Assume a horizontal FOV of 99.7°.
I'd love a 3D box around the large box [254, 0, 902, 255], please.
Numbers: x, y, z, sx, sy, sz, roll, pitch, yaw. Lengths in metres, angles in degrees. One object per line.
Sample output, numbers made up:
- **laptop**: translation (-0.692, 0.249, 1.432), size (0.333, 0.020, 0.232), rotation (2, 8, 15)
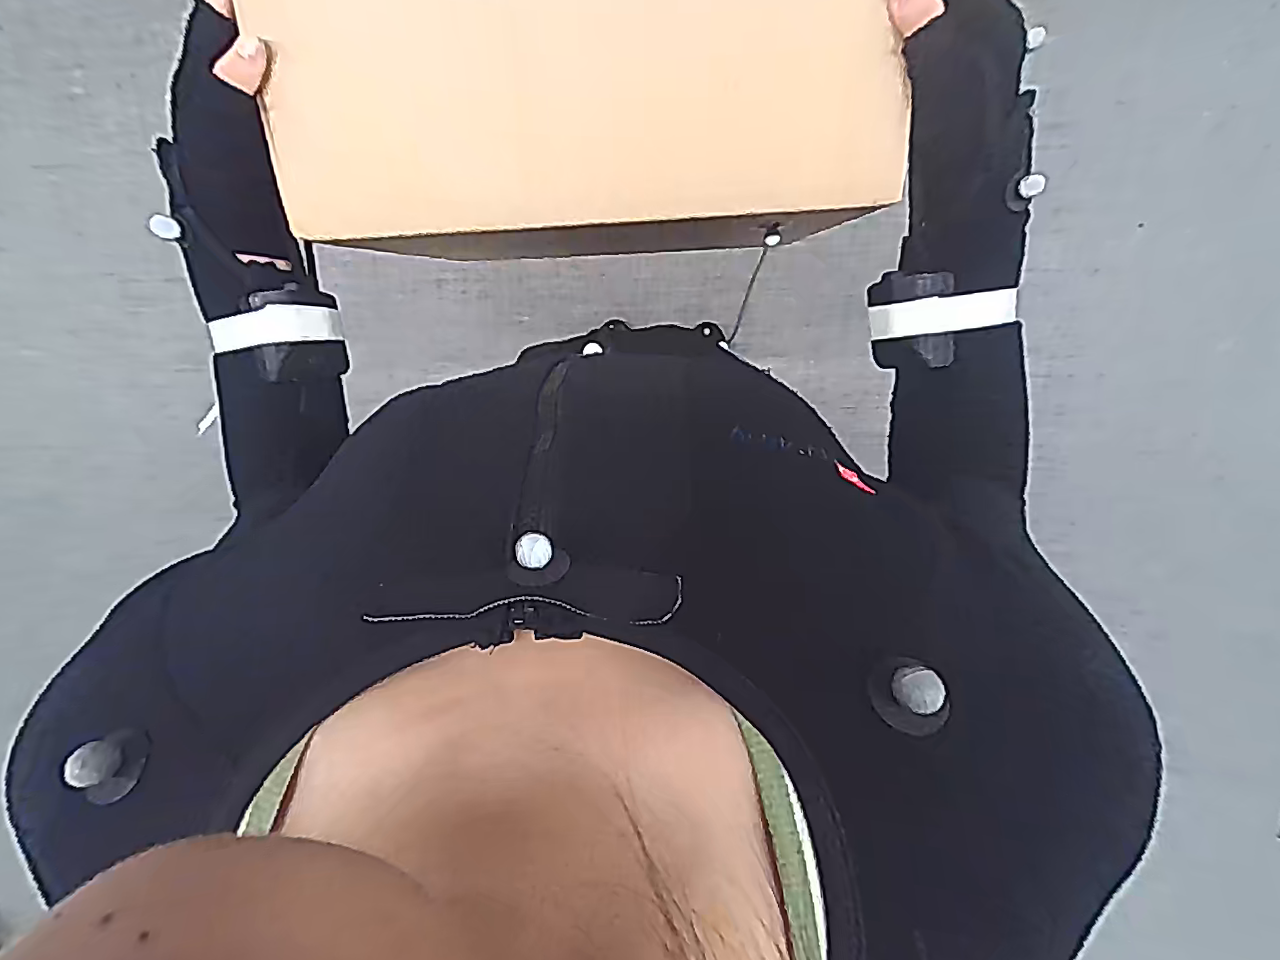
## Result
- **large box**: translation (-0.035, -0.373, 0.459), size (0.408, 0.320, 0.320), rotation (-2, 109, 3)
